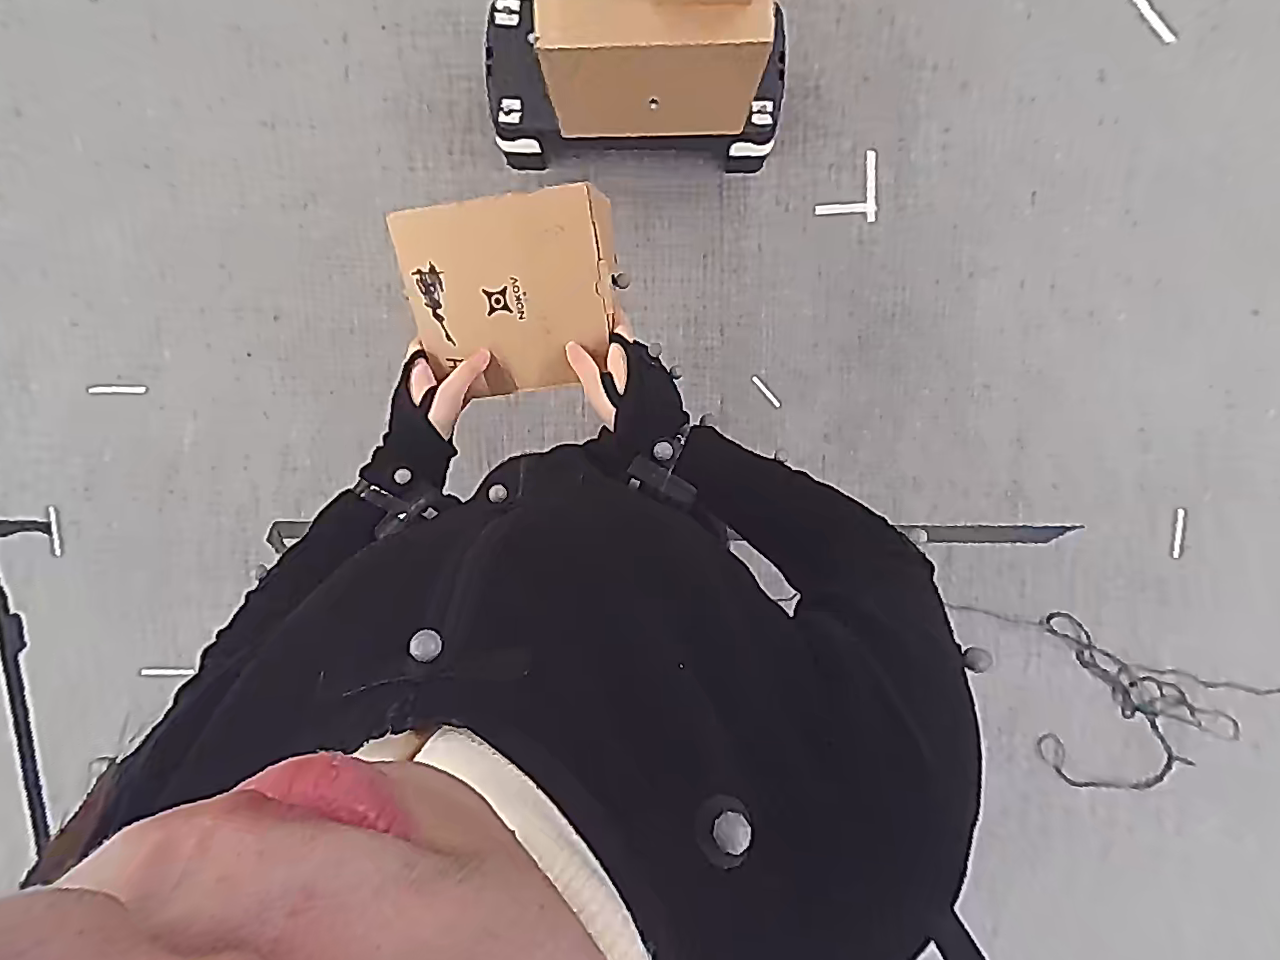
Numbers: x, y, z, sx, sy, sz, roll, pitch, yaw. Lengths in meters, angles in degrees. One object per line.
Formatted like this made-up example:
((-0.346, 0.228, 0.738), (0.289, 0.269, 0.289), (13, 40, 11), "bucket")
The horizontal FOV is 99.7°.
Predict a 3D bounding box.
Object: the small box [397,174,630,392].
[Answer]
((-0.103, -0.194, 0.538), (0.179, 0.176, 0.168), (-5, 112, 4), "small box")

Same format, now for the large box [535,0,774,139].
((0.024, -0.895, 1.035), (0.408, 0.320, 0.320), (-2, 96, 1), "large box")
